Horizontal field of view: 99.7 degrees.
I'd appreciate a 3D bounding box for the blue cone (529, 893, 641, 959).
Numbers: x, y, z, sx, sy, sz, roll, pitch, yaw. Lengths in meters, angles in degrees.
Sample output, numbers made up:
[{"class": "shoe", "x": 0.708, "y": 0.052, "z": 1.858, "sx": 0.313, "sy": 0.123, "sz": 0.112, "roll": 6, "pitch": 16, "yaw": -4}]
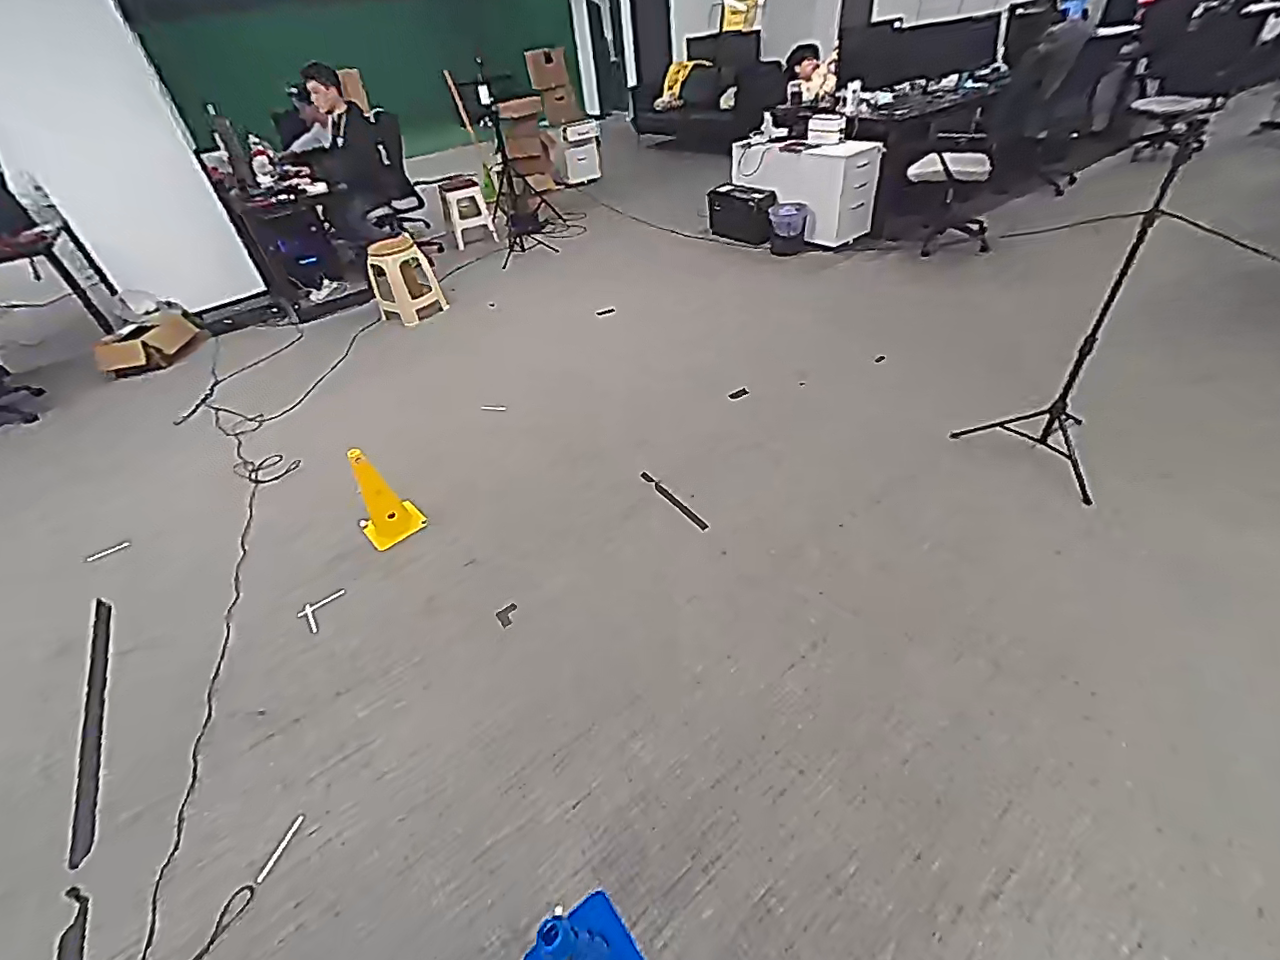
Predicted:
[{"class": "blue cone", "x": -0.116, "y": 0.816, "z": 0.938, "sx": 0.192, "sy": 0.380, "sz": 0.193, "roll": -28, "pitch": 44, "yaw": -24}]
